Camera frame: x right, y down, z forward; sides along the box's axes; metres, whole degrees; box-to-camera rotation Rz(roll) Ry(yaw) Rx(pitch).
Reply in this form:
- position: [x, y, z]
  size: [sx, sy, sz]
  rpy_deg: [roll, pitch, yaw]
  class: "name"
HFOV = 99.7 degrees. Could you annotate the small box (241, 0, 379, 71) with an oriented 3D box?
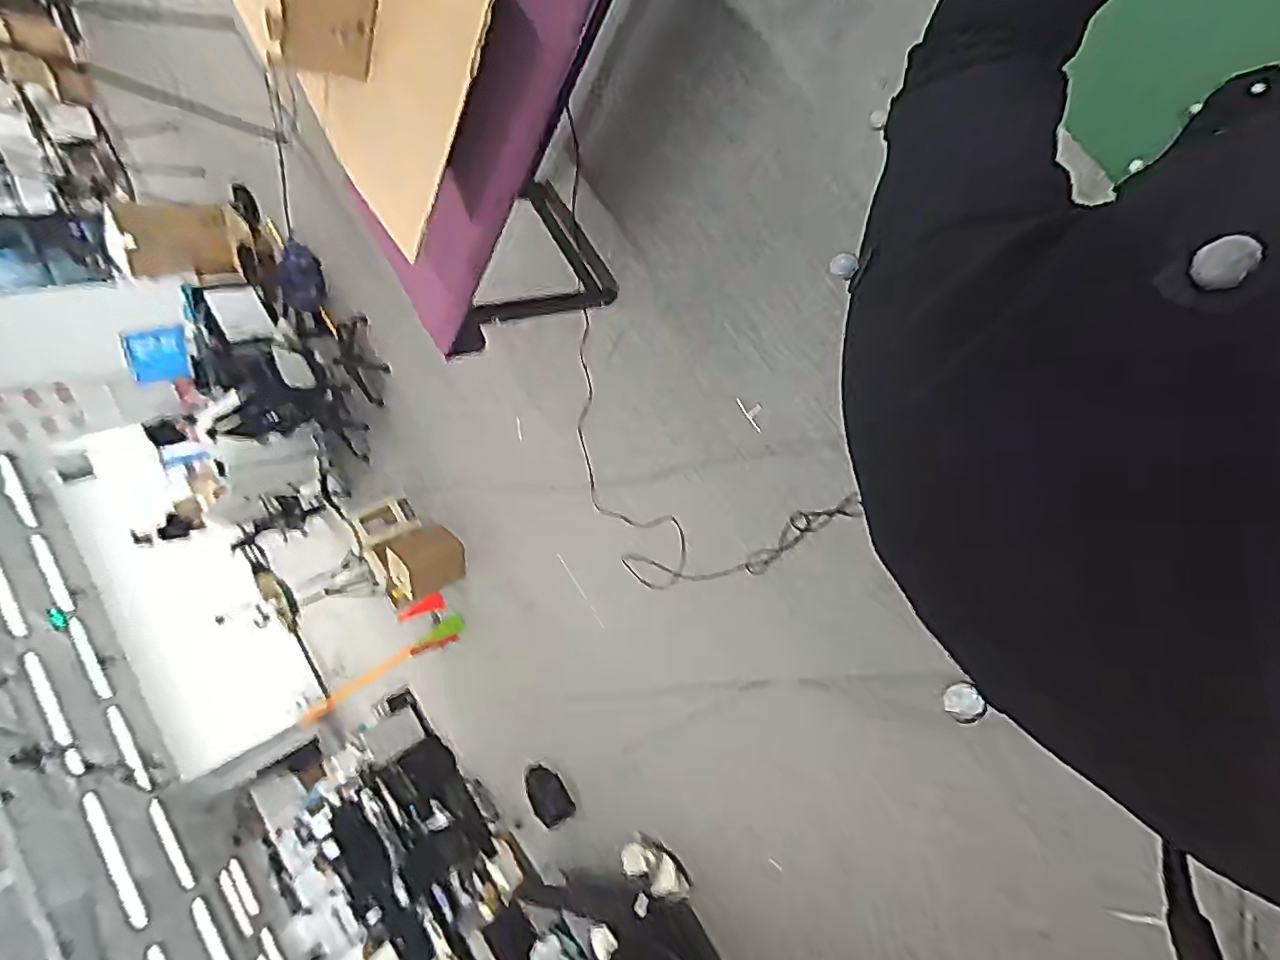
- position: [-0.598, -0.880, 0.970]
  size: [0.168, 0.176, 0.179]
  rpy_deg: [-38, 79, 49]
  class: "small box"
